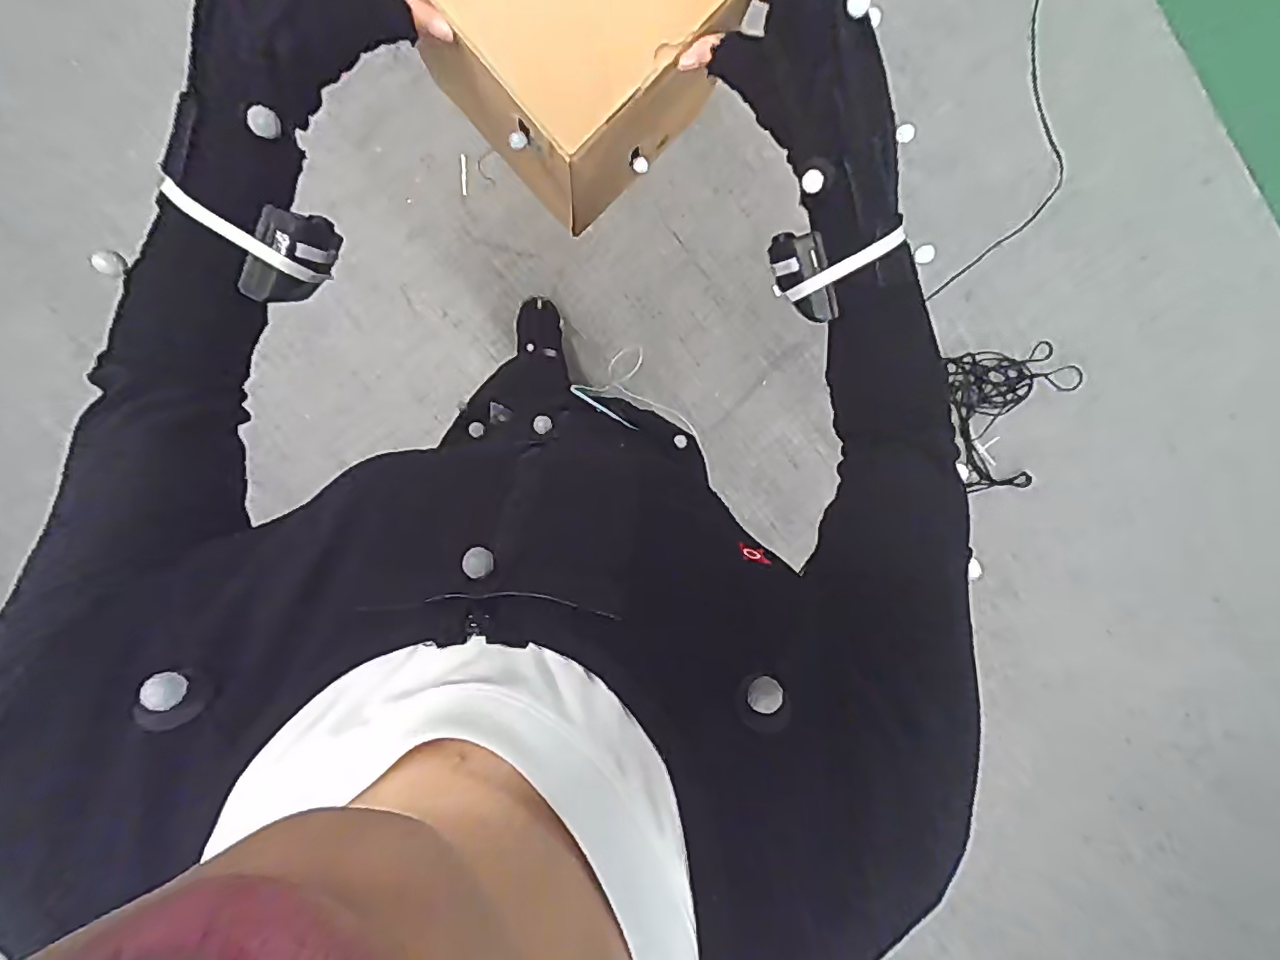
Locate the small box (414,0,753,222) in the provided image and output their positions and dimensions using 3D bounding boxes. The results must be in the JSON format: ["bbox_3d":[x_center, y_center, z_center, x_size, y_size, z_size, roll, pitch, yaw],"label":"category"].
[{"bbox_3d":[-0.047,-0.329,0.396,0.168,0.176,0.179,-44,101,3],"label":"small box"}]
